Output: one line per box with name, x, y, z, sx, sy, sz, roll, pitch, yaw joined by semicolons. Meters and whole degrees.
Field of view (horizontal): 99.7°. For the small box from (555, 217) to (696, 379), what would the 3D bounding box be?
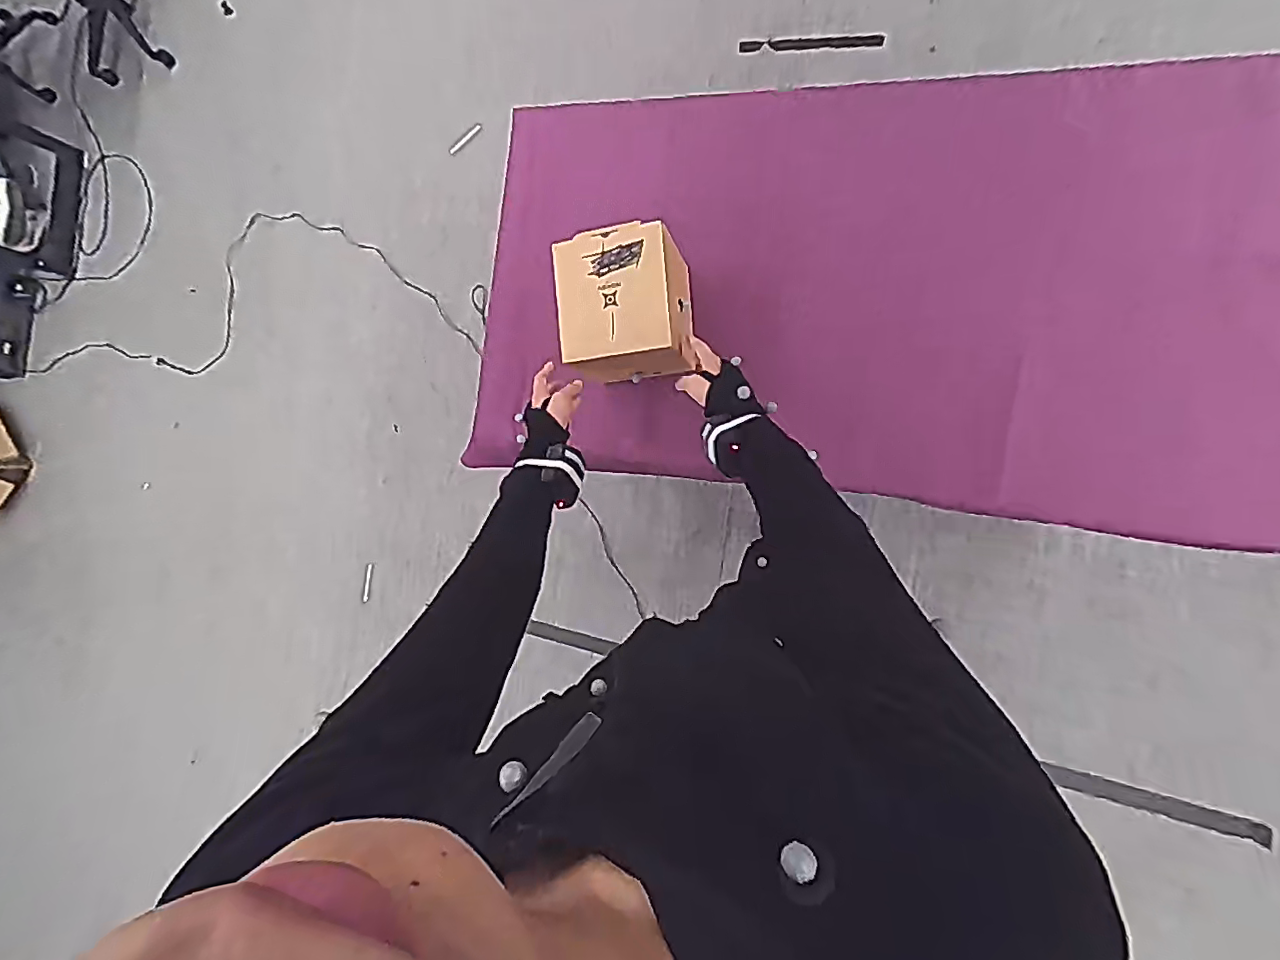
small box;-0.015;-0.262;0.822;0.168;0.176;0.179;-5;90;17
